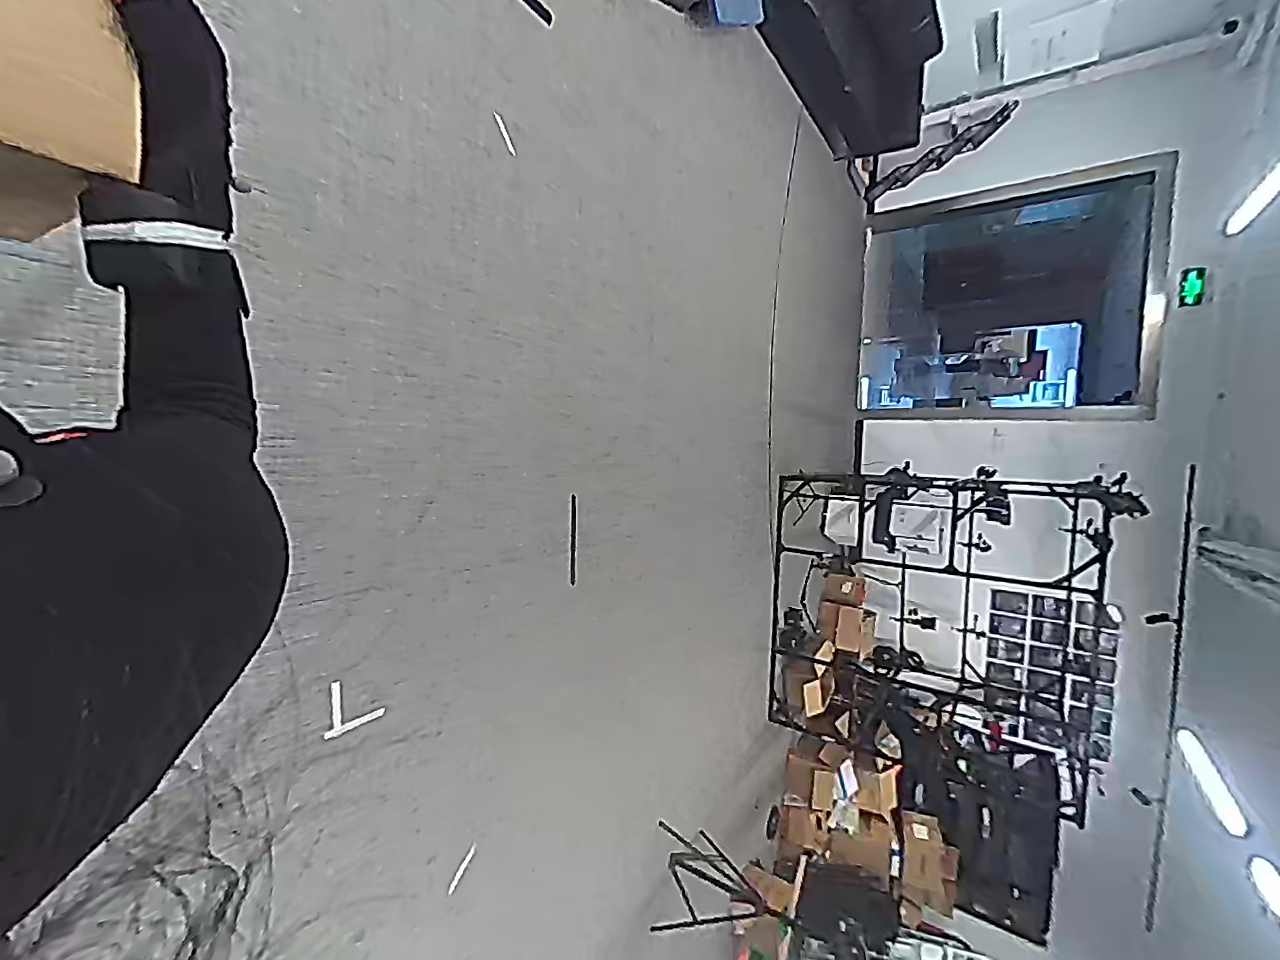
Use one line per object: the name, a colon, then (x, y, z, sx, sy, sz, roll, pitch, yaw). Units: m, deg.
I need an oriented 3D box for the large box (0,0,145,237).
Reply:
large box: (-0.567, -0.360, 0.271, 0.408, 0.320, 0.320, -4, 100, -58)
